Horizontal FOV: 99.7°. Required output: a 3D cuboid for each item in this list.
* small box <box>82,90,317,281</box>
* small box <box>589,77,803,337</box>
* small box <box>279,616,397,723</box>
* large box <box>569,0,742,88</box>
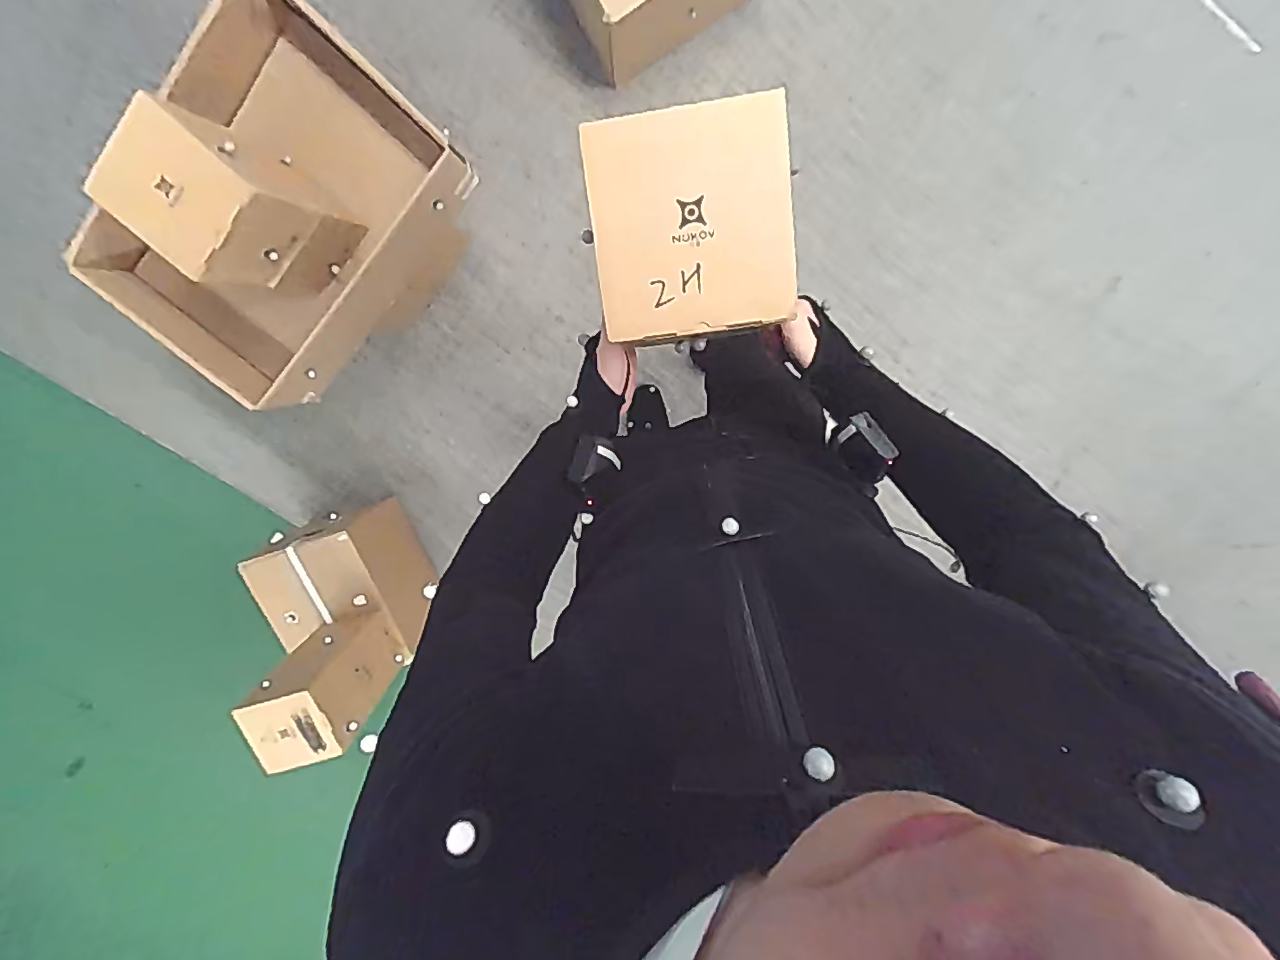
[{"bbox_3d":[-0.642,-0.420,0.812,0.179,0.176,0.168,42,102,-12],"label":"small box"},{"bbox_3d":[0.052,-0.237,0.519,0.168,0.176,0.179,-6,103,6],"label":"small box"},{"bbox_3d":[-0.725,0.457,1.329,0.179,0.176,0.168,-15,104,3],"label":"small box"},{"bbox_3d":[0.034,-1.153,1.145,0.408,0.320,0.320,-30,103,8],"label":"large box"}]
